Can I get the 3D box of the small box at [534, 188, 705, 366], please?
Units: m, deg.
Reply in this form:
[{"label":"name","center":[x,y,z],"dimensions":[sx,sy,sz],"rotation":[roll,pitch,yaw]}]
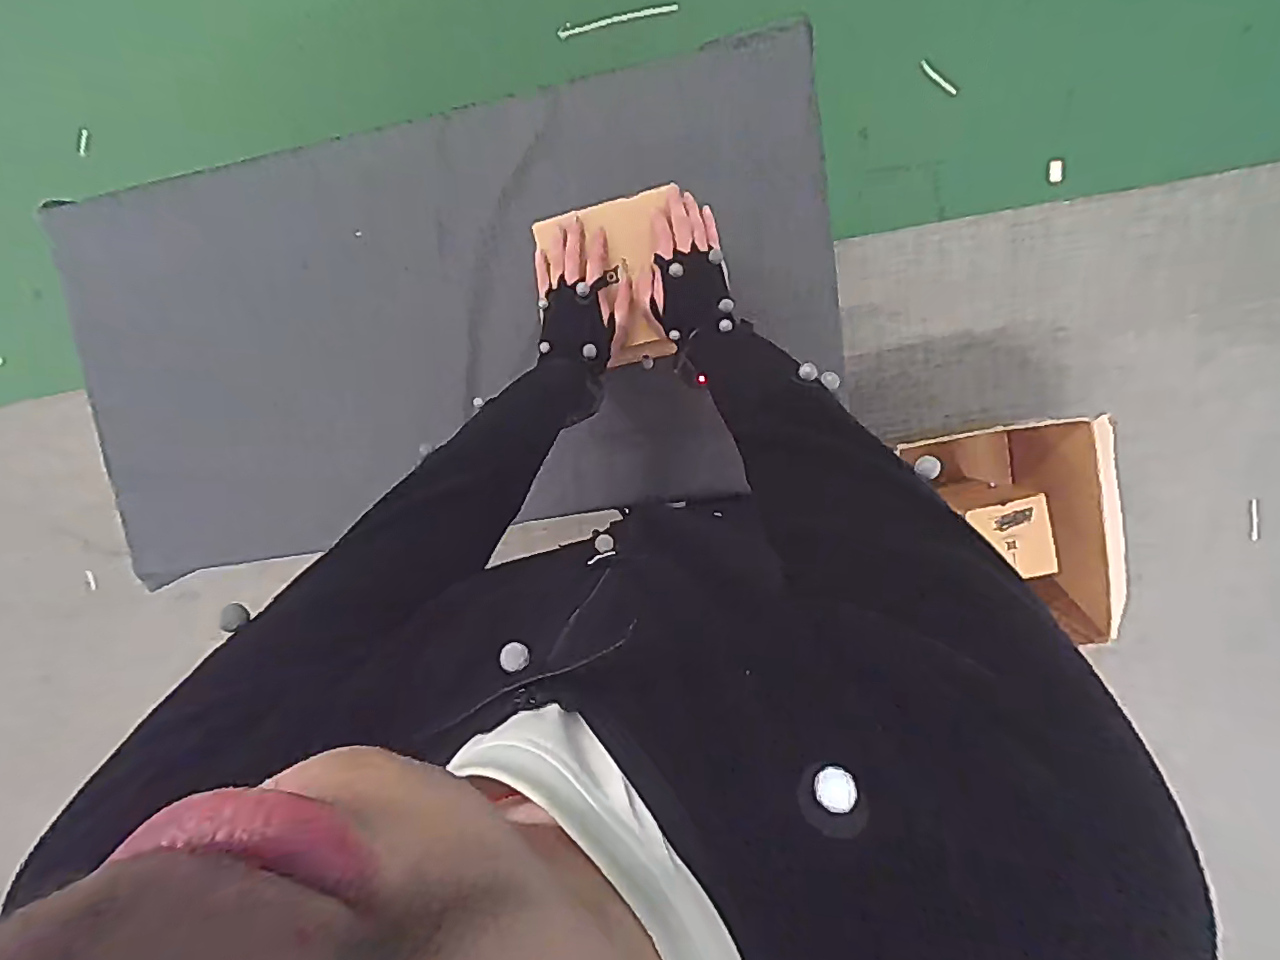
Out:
[{"label":"small box","center":[-0.018,-0.254,0.720],"dimensions":[0.179,0.176,0.168],"rotation":[-14,98,8]}]
